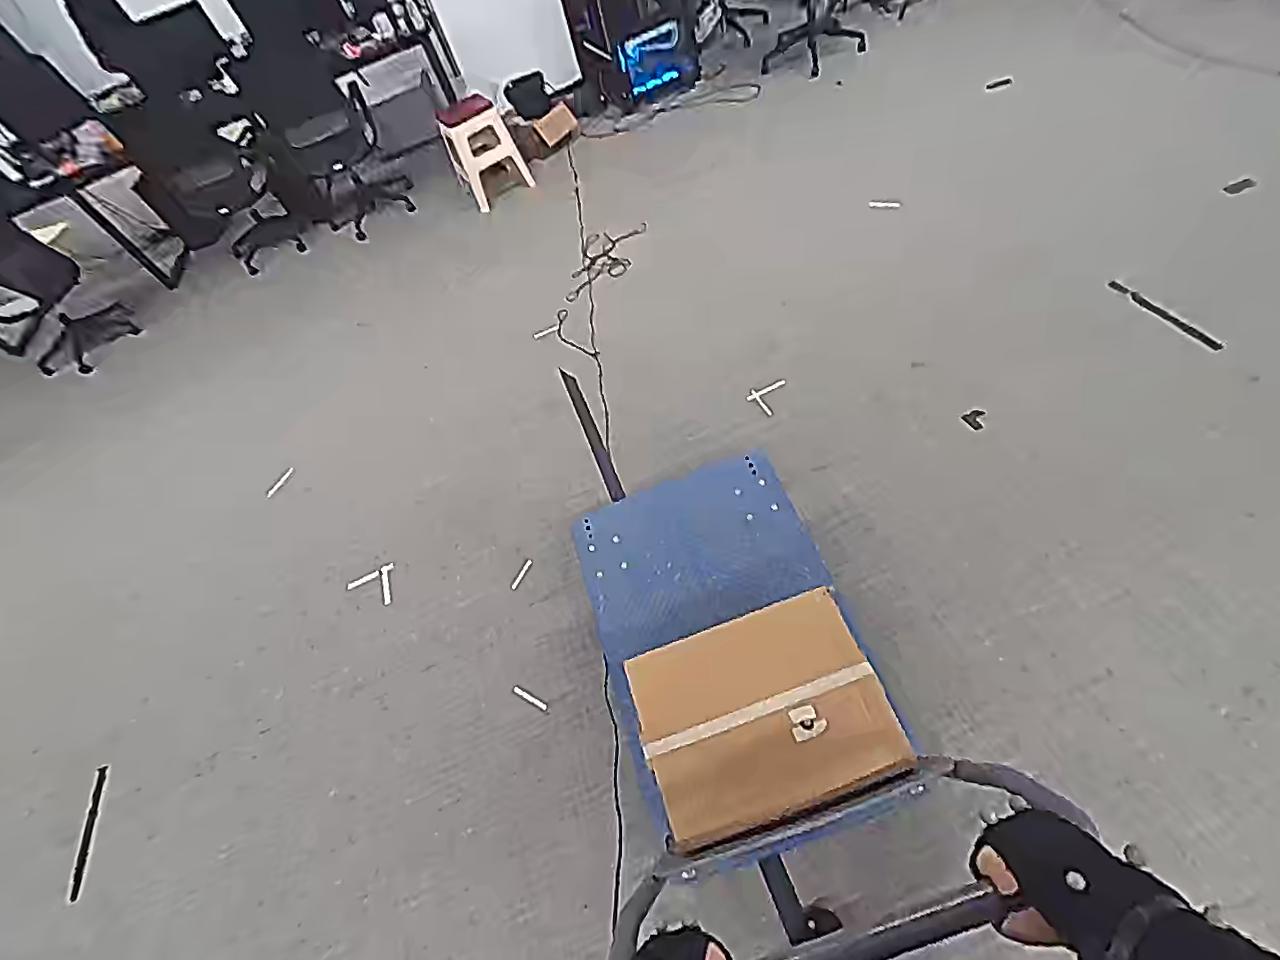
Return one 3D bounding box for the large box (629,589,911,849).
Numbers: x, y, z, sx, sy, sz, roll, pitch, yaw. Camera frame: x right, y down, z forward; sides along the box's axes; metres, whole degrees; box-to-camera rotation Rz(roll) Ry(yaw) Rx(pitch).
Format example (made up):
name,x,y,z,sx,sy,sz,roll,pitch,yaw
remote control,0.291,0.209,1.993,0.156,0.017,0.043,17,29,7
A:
name,x,y,z,sx,sy,sz,roll,pitch,yaw
large box,0.235,0.471,1.067,0.408,0.320,0.320,-21,59,0
